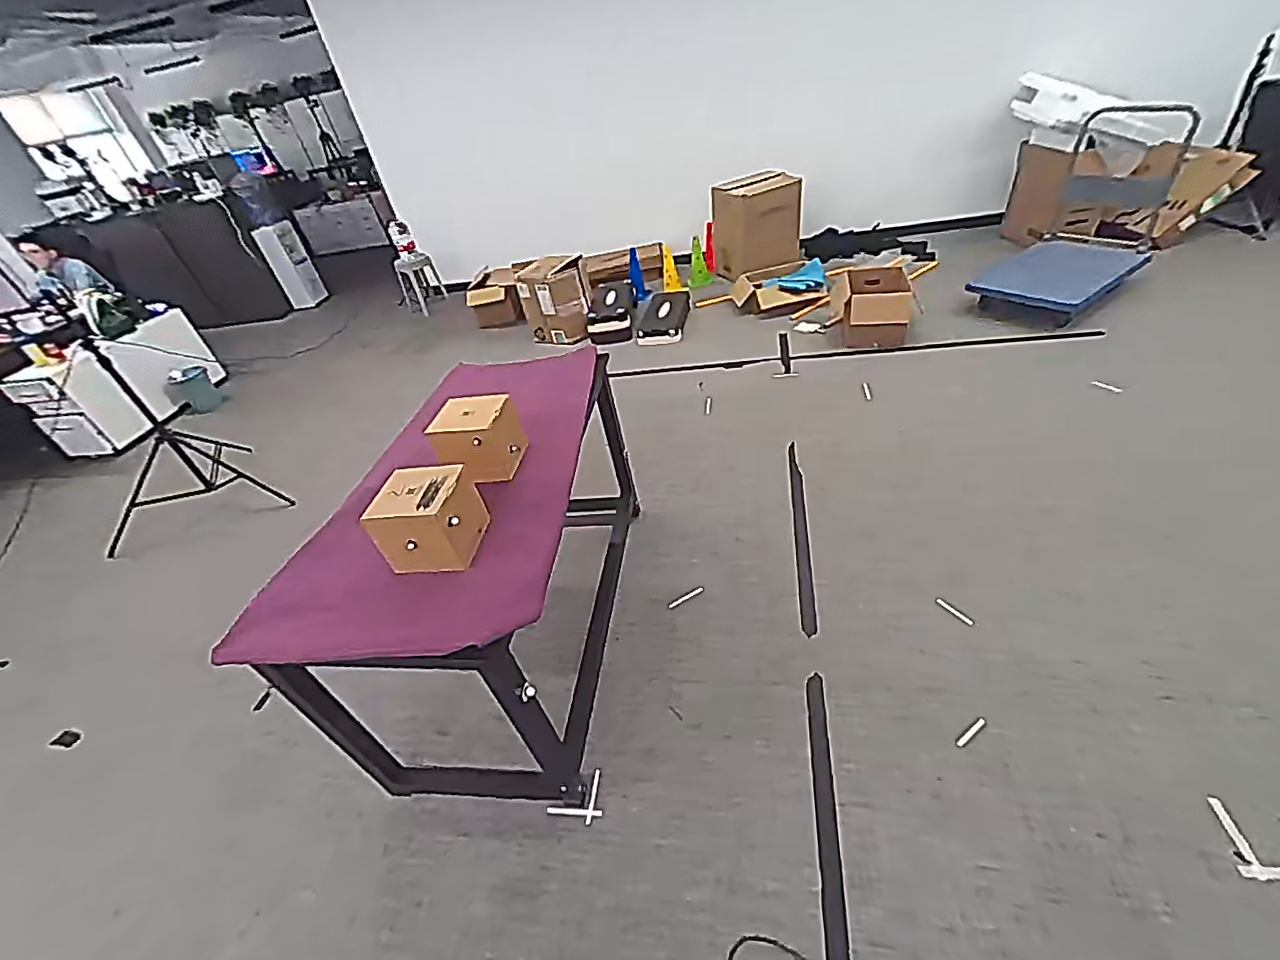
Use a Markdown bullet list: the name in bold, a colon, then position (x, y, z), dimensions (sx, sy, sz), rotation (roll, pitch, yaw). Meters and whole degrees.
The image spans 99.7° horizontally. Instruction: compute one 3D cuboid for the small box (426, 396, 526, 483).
- **small box**: position (-0.425, -0.104, 1.431), dimensions (0.179, 0.176, 0.168), rotation (-3, 39, 11)
